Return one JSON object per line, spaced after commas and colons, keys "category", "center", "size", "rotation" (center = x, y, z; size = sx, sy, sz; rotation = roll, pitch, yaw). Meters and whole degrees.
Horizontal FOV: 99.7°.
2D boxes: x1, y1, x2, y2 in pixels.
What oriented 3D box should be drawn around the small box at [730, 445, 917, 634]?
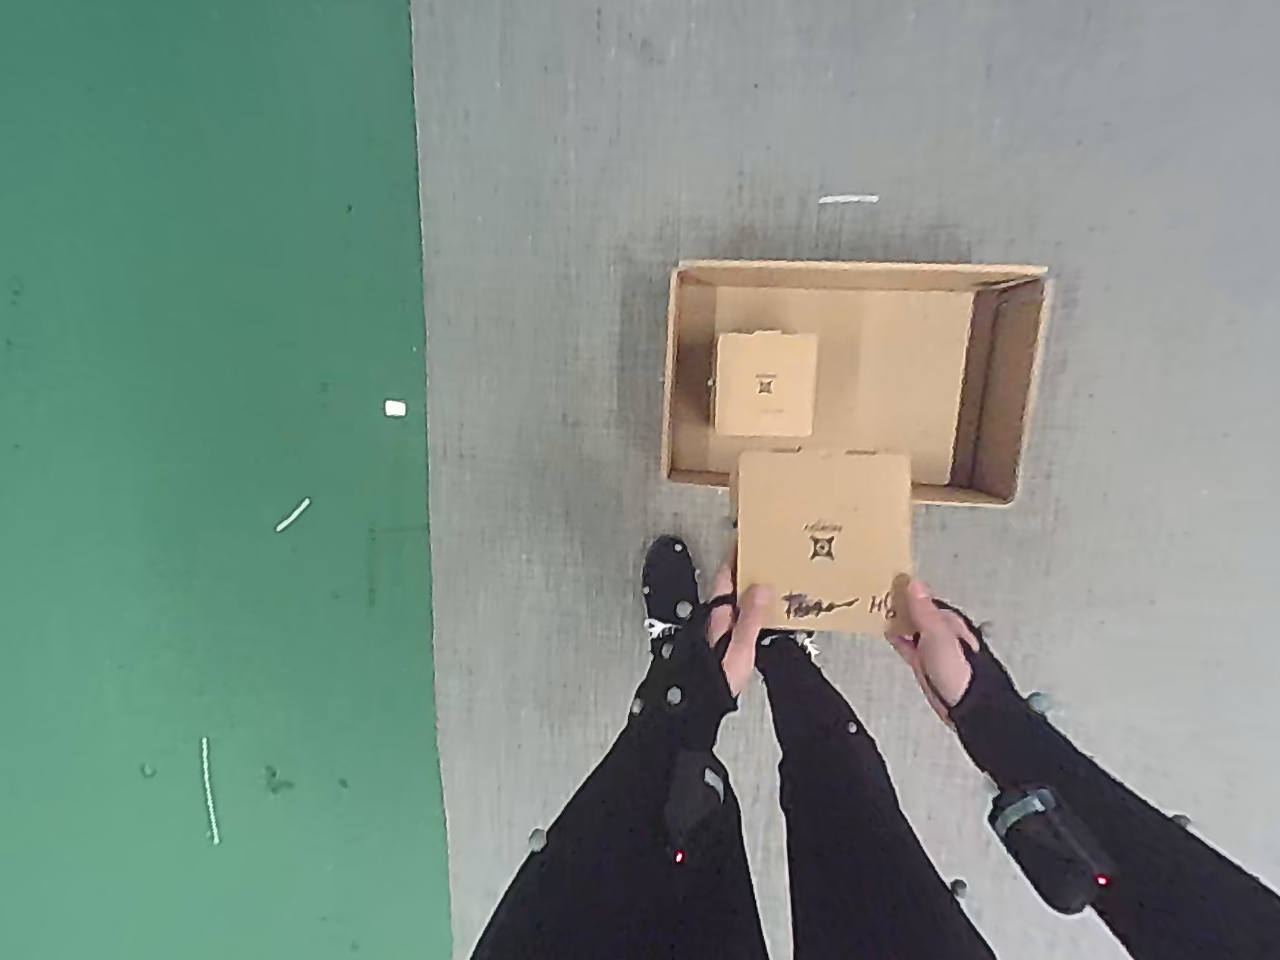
{"category": "small box", "center": [0.189, 0.065, 0.600], "size": [0.168, 0.176, 0.179], "rotation": [2, 82, 6]}
